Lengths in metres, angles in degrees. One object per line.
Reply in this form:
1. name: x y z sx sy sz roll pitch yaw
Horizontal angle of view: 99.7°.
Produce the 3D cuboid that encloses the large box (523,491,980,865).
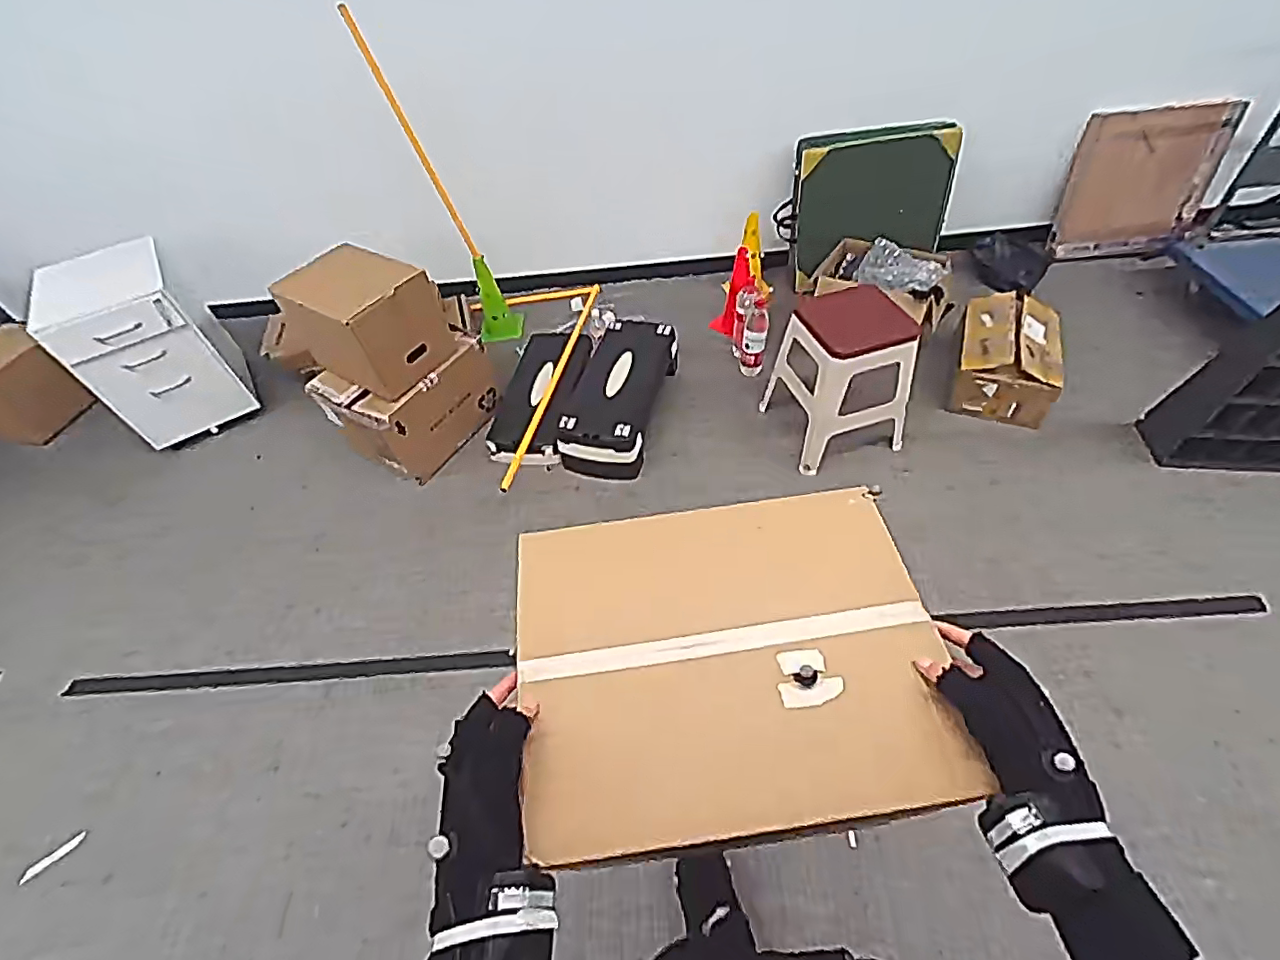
1. large box: 0.088 0.250 0.664 0.408 0.320 0.320 -8 53 -1
